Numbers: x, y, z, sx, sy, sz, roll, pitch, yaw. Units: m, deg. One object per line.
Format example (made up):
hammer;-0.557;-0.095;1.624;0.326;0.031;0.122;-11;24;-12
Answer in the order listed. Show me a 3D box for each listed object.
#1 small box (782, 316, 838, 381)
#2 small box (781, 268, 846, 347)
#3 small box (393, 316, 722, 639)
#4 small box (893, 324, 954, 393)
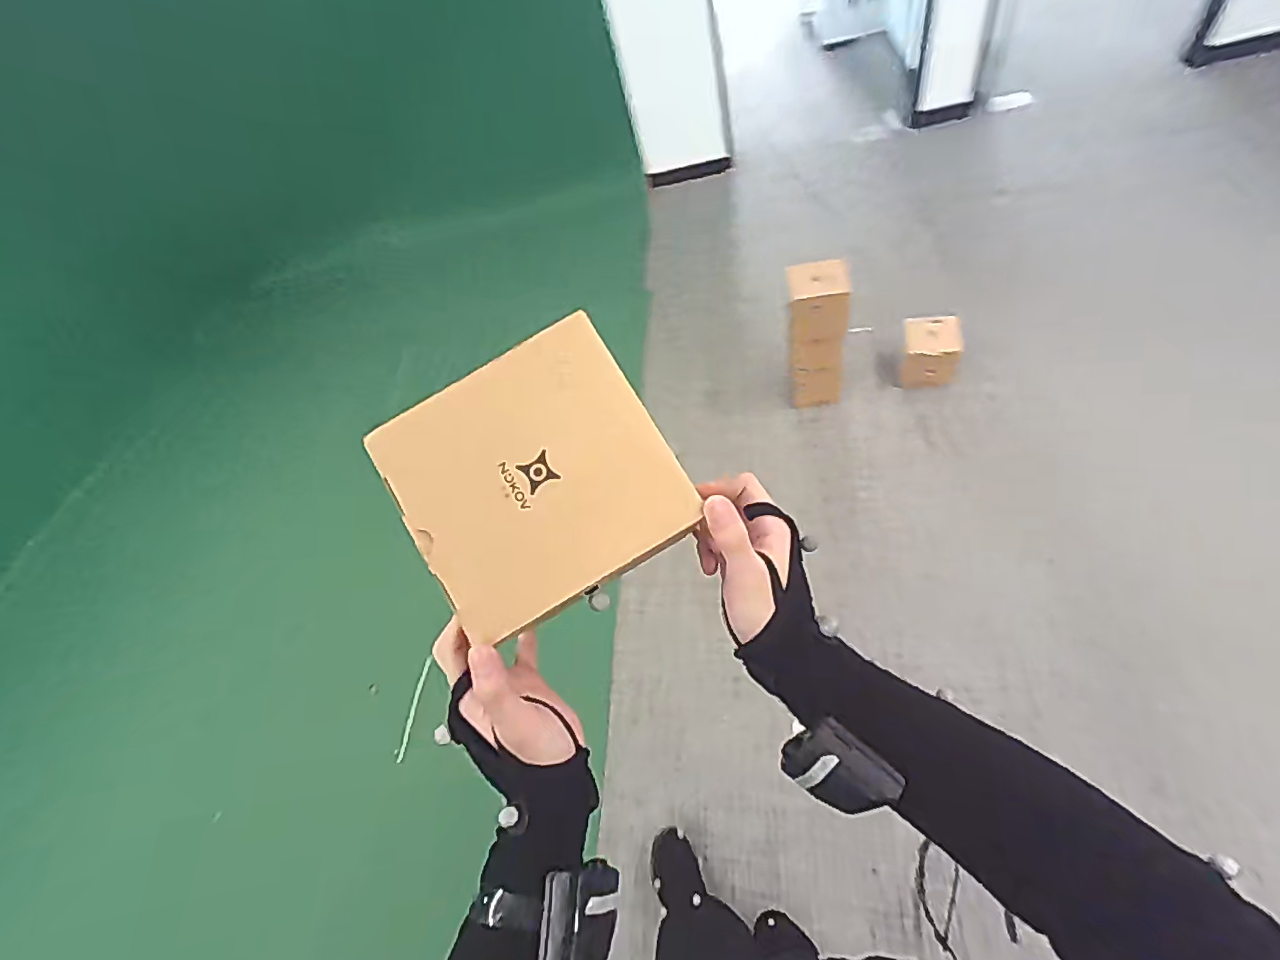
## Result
small box;0.584;-0.458;1.859;0.168;0.176;0.179;-6;53;12
small box;0.549;-0.542;1.721;0.179;0.176;0.168;-5;54;13
small box;-0.055;0.005;0.444;0.179;0.176;0.168;-30;80;-1
small box;0.998;-0.423;1.914;0.168;0.176;0.179;2;57;18
